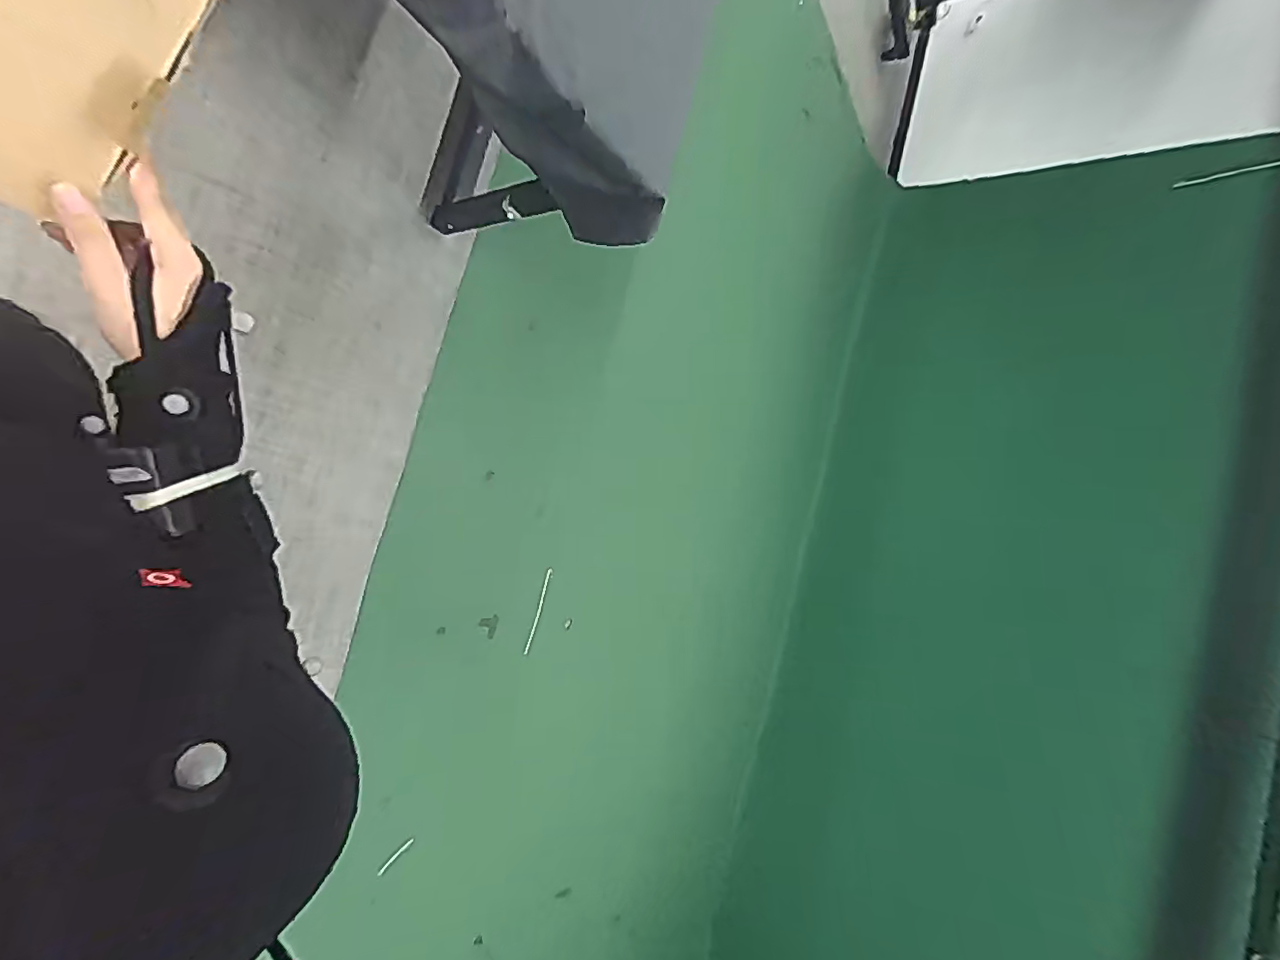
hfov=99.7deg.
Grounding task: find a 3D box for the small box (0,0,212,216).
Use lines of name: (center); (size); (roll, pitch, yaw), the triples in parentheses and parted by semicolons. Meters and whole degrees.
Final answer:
small box: (-0.367, -0.281, 0.277); (0.168, 0.176, 0.179); (-53, 146, 7)
